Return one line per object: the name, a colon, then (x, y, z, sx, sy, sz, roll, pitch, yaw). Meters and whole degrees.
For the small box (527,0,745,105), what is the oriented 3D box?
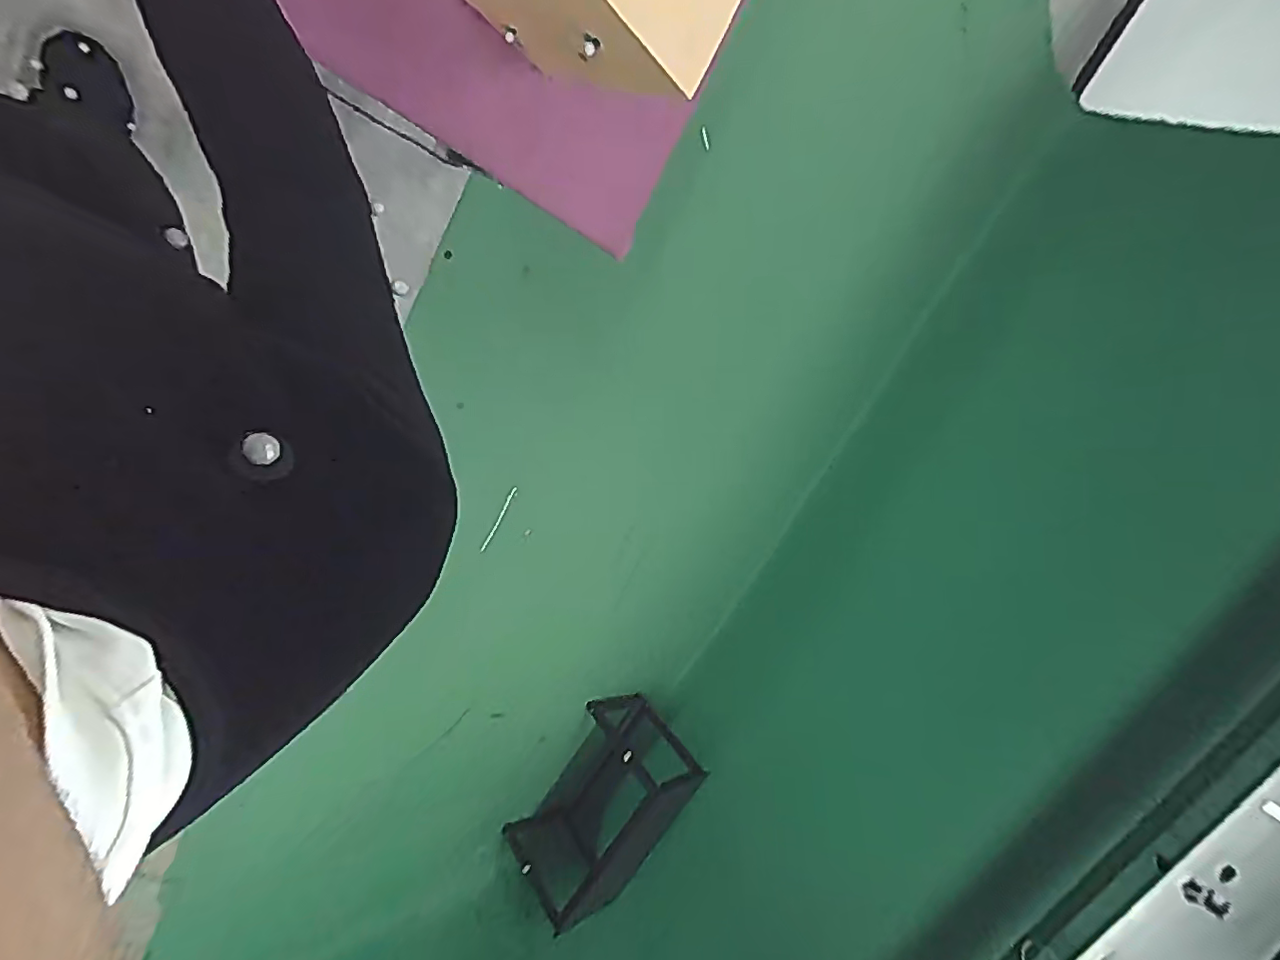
small box: (-0.004, -0.543, 0.571, 0.168, 0.176, 0.179, 13, 111, -51)
